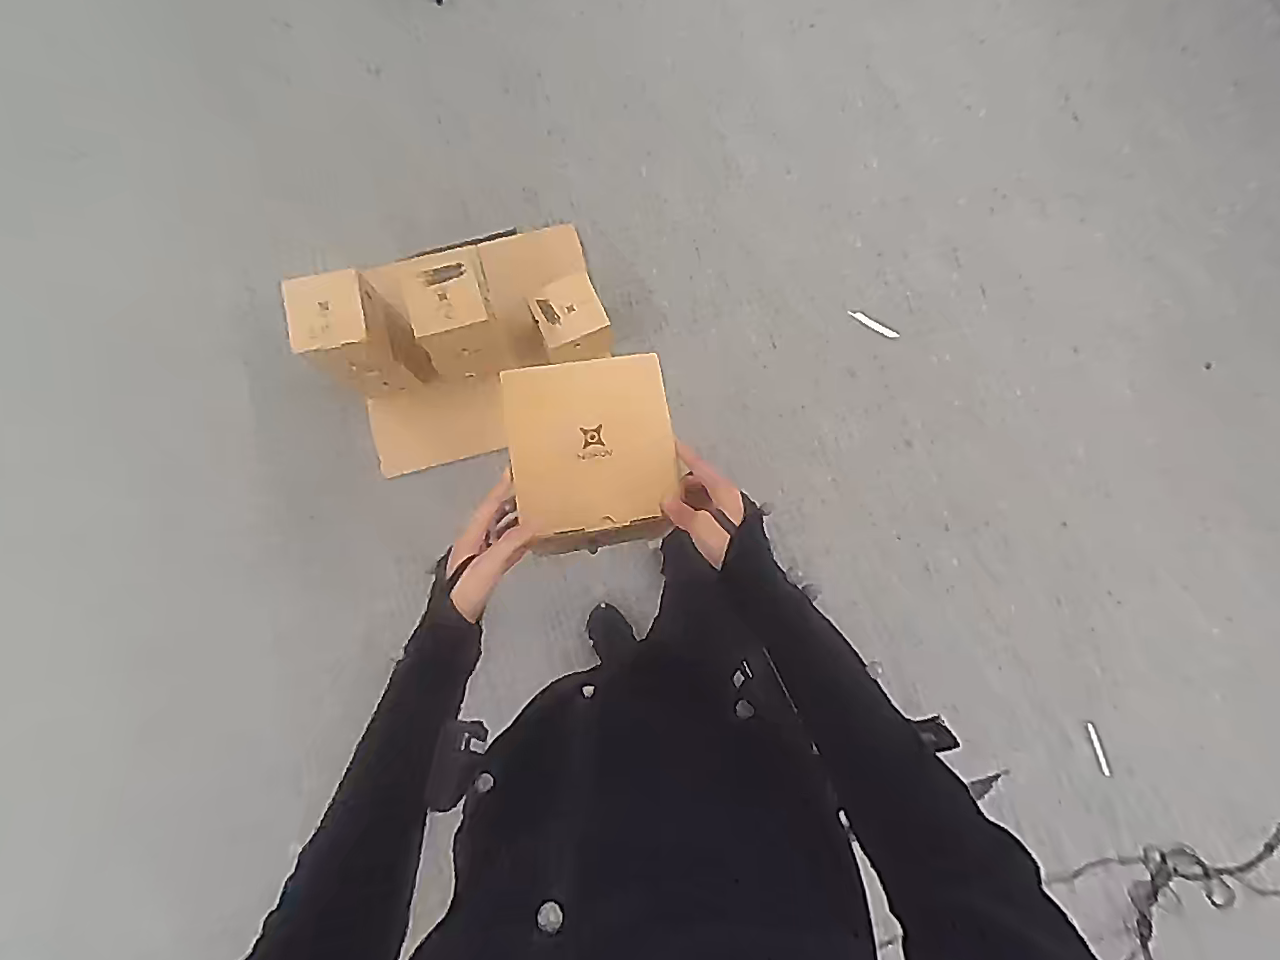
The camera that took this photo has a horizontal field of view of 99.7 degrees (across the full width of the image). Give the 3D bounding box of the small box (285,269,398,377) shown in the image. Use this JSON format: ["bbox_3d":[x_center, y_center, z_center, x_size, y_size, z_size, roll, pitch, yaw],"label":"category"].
[{"bbox_3d":[-0.691,-0.361,1.266,0.168,0.176,0.179,-12,83,-3],"label":"small box"}]

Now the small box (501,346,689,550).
[{"bbox_3d":[-0.055,-0.026,0.608,0.168,0.176,0.179,-9,79,-8],"label":"small box"}]

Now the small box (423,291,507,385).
[{"bbox_3d":[-0.461,-0.375,1.445,0.168,0.176,0.179,-12,83,-4],"label":"small box"}]

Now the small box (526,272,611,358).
[{"bbox_3d":[-0.186,-0.423,1.462,0.179,0.176,0.168,-24,84,-5],"label":"small box"}]

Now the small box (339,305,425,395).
[{"bbox_3d":[-0.687,-0.334,1.429,0.168,0.176,0.179,-13,84,-4],"label":"small box"}]
